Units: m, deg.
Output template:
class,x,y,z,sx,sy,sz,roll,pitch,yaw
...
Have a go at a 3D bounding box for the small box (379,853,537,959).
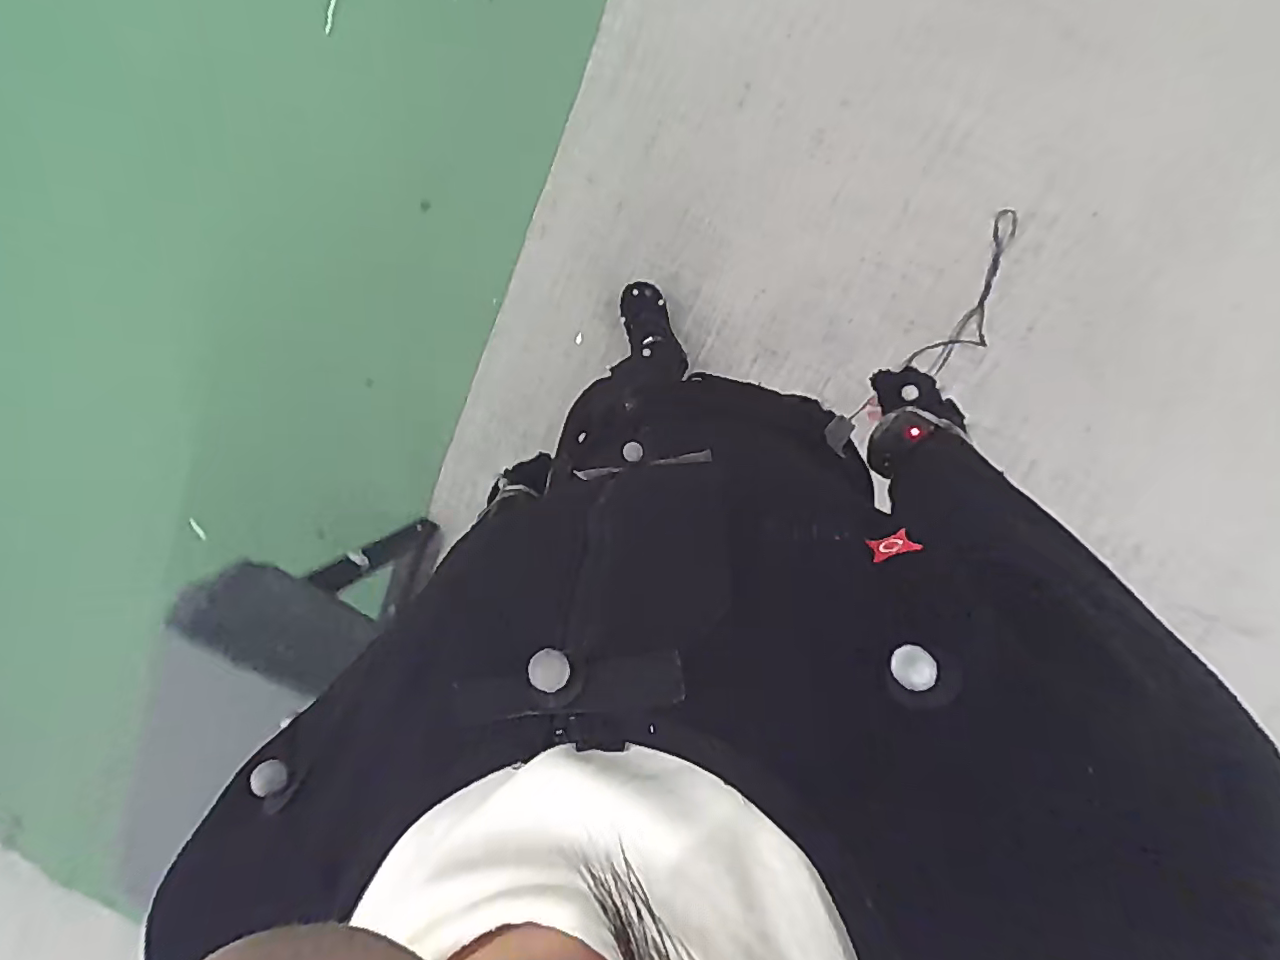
class,x,y,z,sx,sy,sz,roll,pitch,yaw
small box,-0.278,0.711,0.806,0.179,0.176,0.168,25,105,6
